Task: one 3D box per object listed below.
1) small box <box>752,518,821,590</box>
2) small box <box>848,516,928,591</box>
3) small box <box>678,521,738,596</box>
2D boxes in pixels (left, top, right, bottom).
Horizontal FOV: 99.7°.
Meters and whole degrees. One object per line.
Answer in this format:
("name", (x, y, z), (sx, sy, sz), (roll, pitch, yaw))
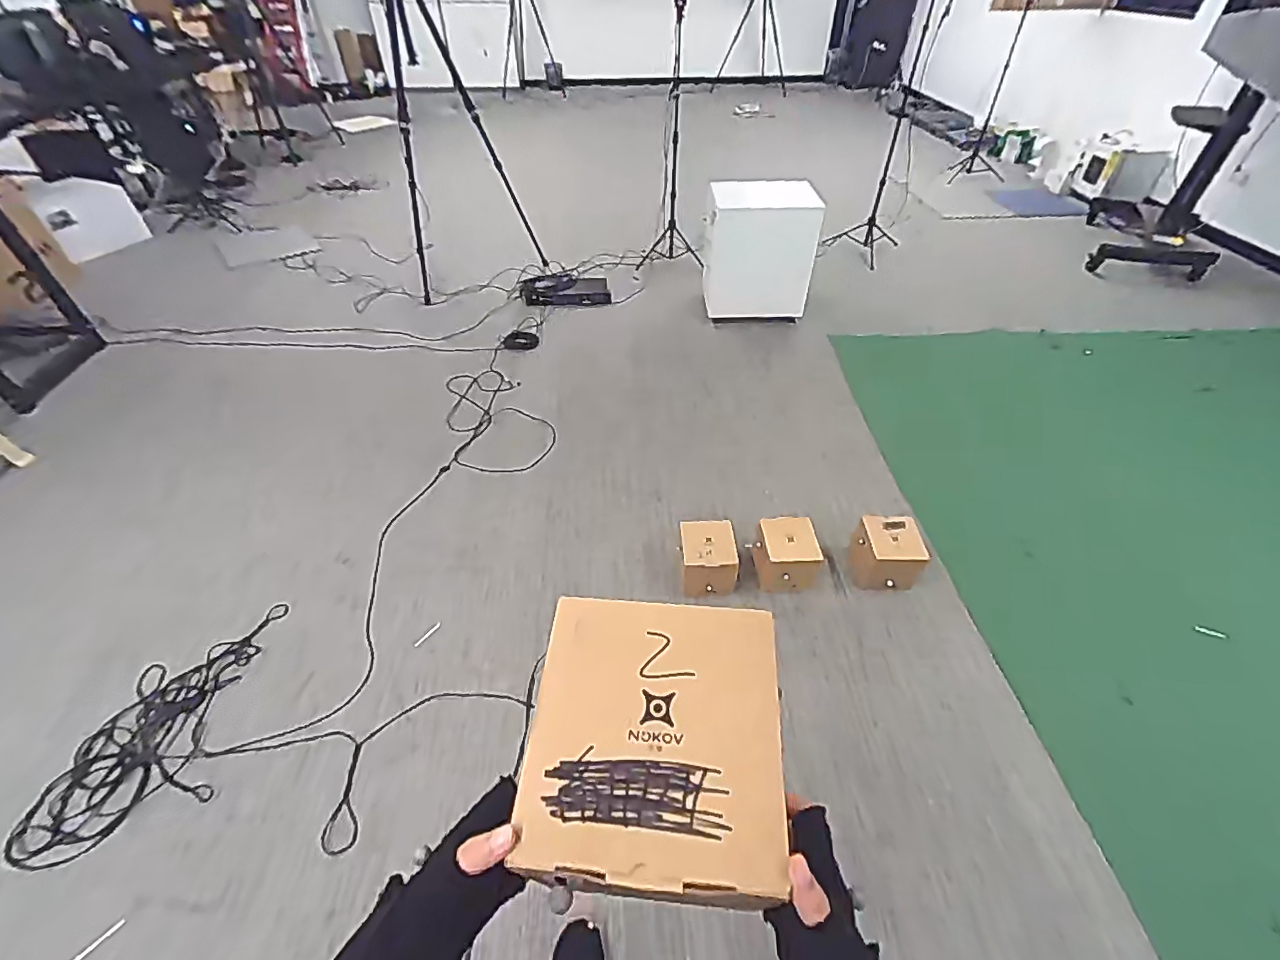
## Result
("small box", (0.467, 0.243, 1.743), (0.168, 0.176, 0.179), (-2, 44, -2))
("small box", (0.792, 0.236, 1.748), (0.168, 0.176, 0.179), (1, 46, 1))
("small box", (0.212, 0.251, 1.730), (0.168, 0.176, 0.179), (-2, 45, -1))
